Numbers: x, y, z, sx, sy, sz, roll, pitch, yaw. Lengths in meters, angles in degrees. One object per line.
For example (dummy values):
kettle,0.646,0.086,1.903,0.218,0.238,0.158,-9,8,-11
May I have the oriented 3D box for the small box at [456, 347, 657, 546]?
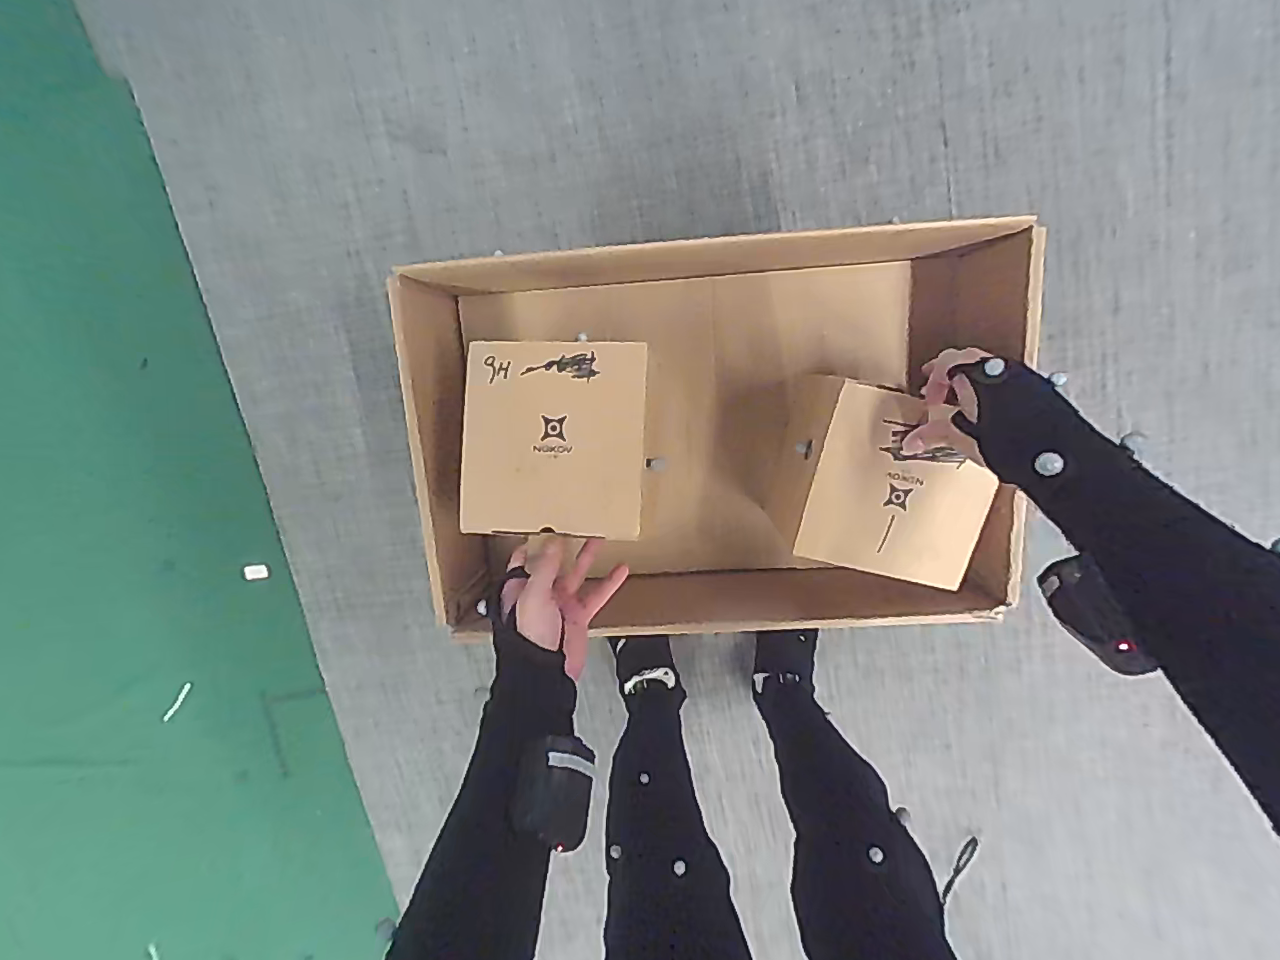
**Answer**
small box,-0.072,-0.030,0.561,0.168,0.176,0.179,2,88,7
